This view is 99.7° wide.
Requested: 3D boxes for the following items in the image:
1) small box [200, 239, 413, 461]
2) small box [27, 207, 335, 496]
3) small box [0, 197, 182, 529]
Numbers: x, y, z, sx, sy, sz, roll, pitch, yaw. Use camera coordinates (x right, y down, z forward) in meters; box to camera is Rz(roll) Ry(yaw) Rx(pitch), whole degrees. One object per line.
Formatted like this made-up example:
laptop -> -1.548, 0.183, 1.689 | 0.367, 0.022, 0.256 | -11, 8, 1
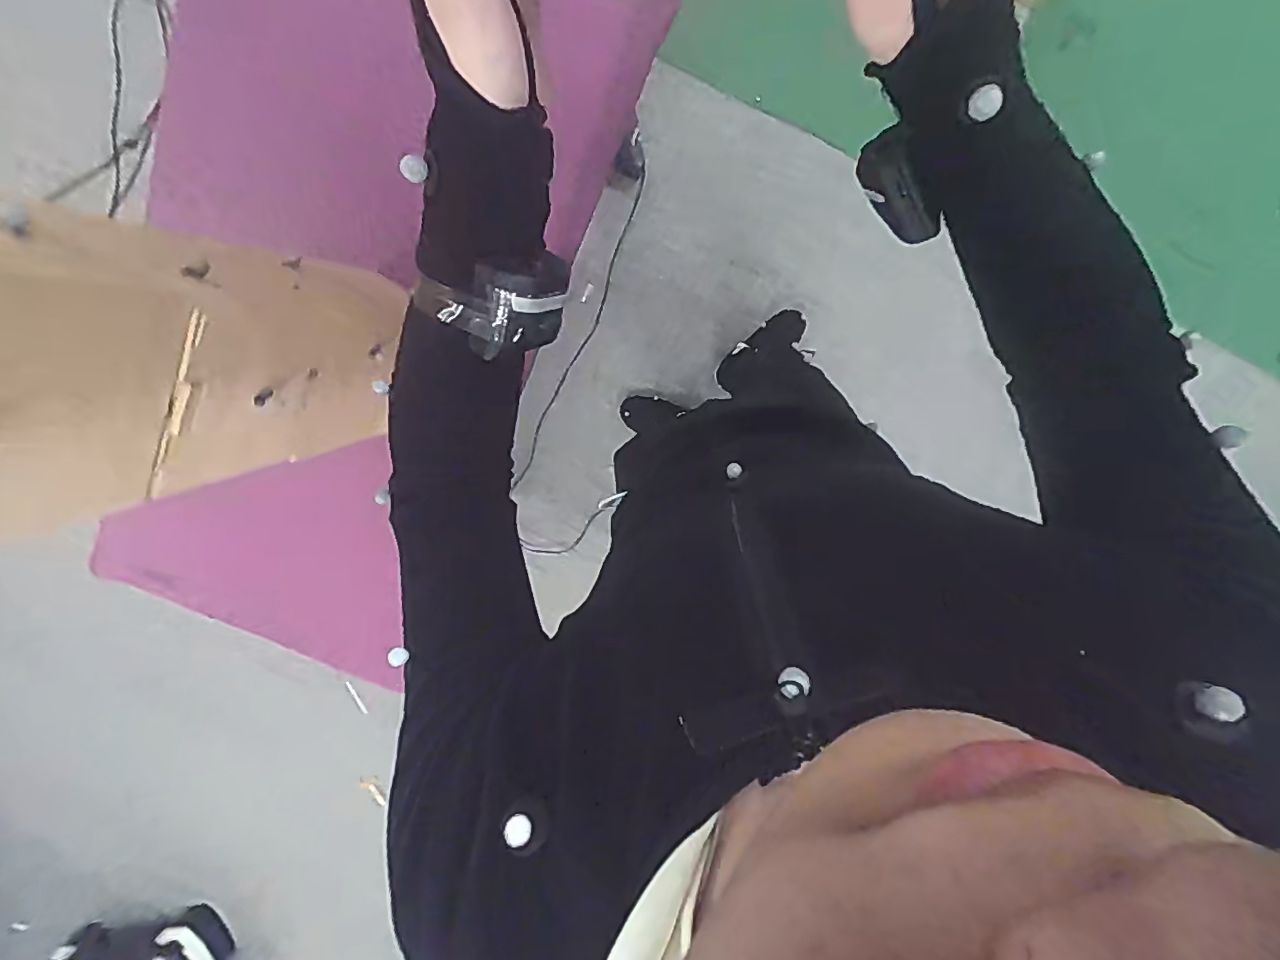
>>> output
small box -> -0.400, -0.151, 0.641 | 0.168, 0.176, 0.179 | 28, 105, -3
small box -> -0.417, -0.114, 0.484 | 0.179, 0.176, 0.168 | 28, 104, -4
small box -> -0.432, -0.074, 0.324 | 0.168, 0.176, 0.179 | 27, 104, -2
